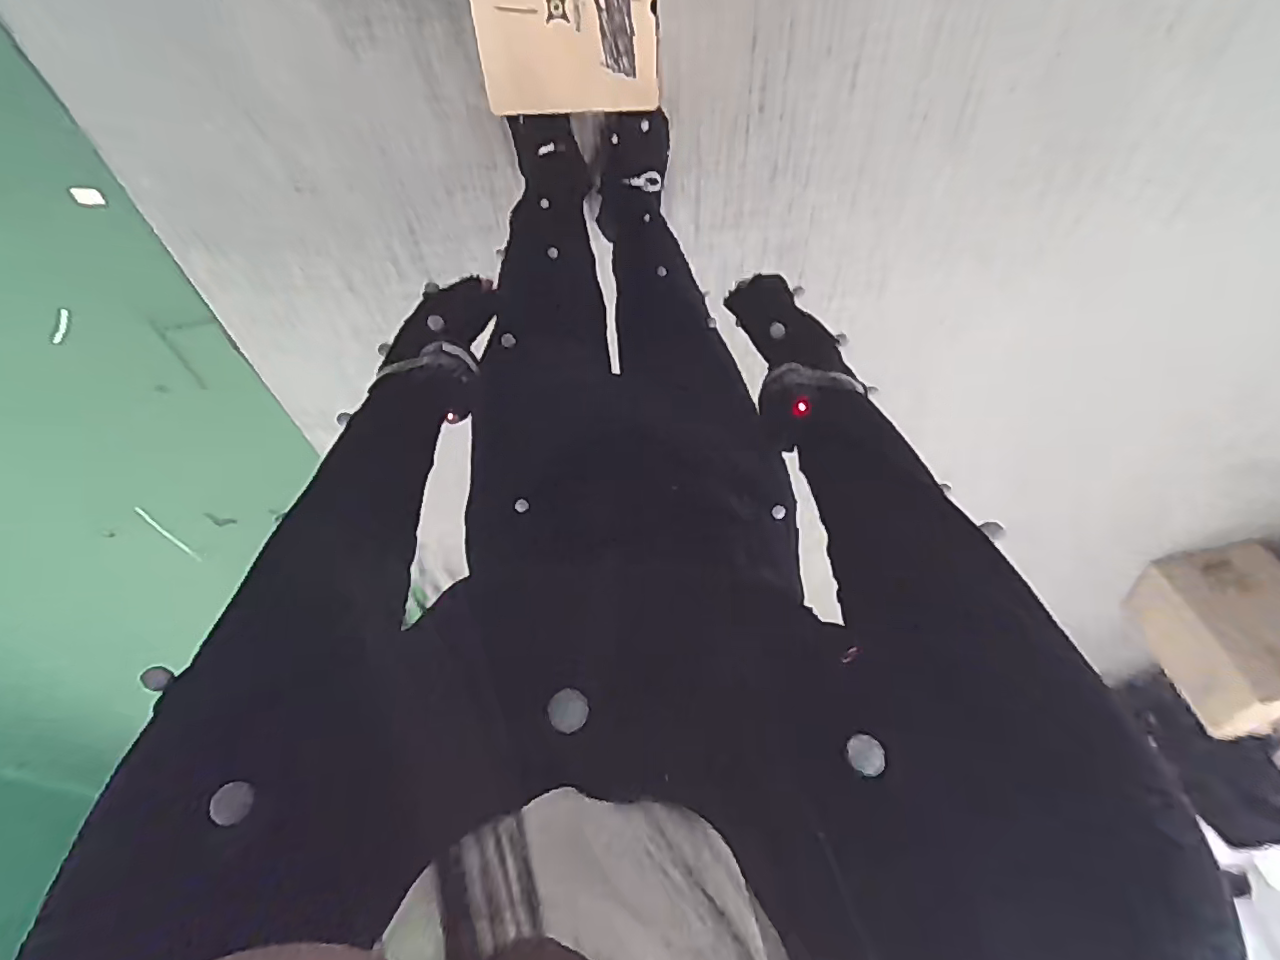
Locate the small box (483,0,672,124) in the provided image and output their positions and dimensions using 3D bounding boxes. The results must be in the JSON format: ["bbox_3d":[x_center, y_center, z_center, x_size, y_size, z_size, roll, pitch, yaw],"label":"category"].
[{"bbox_3d":[-0.064,-0.497,0.559,0.179,0.176,0.168,-6,140,0],"label":"small box"}]
